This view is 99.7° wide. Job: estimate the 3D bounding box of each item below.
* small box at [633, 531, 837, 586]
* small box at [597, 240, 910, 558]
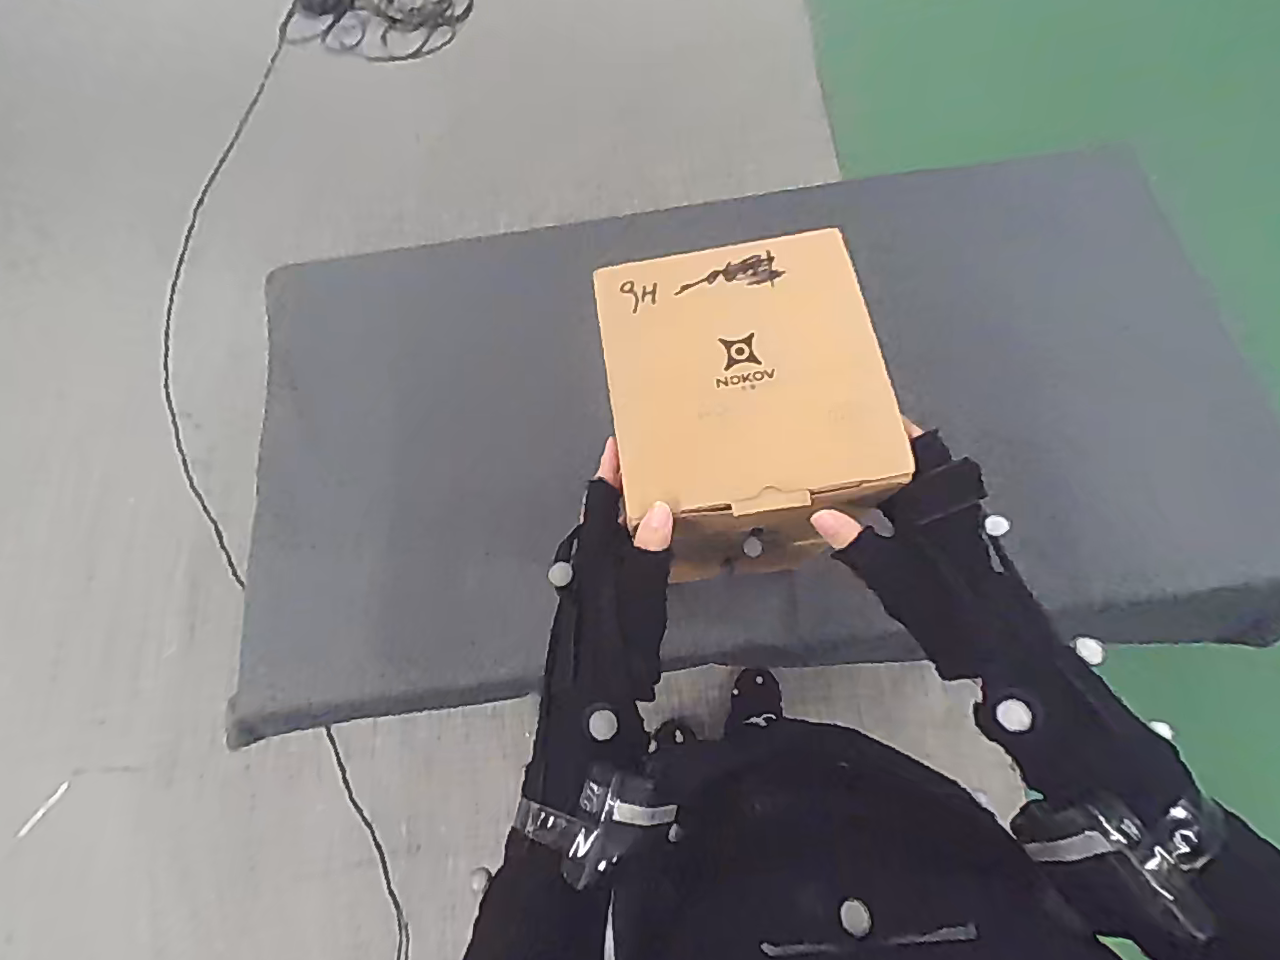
[{"bbox_3d":[0.080,0.012,0.562,0.179,0.176,0.168,-7,72,1],"label":"small box"},{"bbox_3d":[0.069,-0.041,0.408,0.168,0.176,0.179,-9,73,1],"label":"small box"}]
